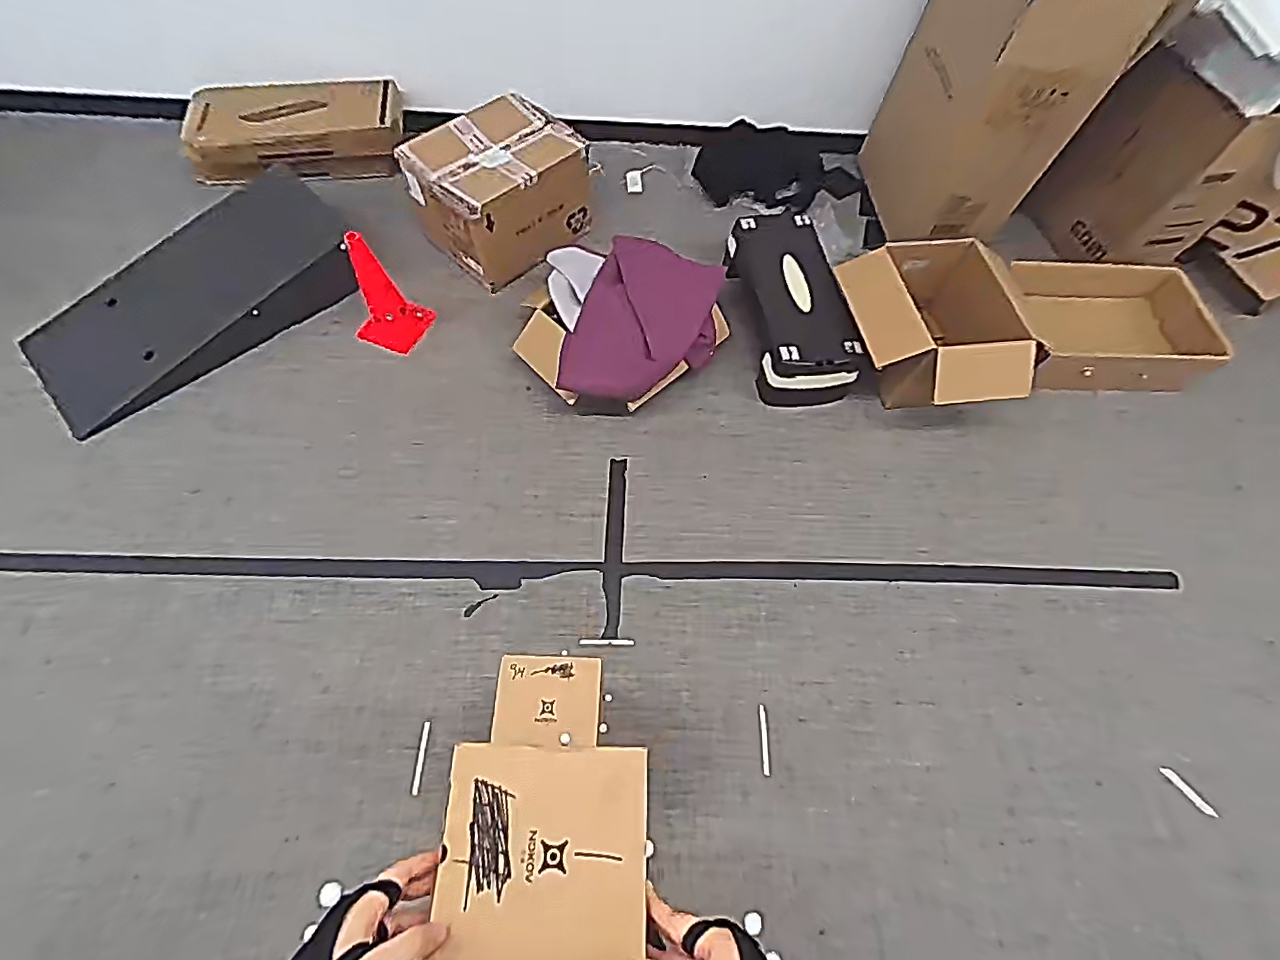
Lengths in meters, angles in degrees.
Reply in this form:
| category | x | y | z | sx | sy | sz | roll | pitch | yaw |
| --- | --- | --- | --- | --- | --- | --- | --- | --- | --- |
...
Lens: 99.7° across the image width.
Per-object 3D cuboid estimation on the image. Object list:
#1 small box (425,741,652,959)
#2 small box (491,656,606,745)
| category | x | y | z | sx | sy | sz | roll | pitch | yaw |
| --- | --- | --- | --- | --- | --- | --- | --- | --- | --- |
| small box | -0.083 | 0.349 | 0.520 | 0.179 | 0.176 | 0.168 | 3 | 62 | -5 |
| small box | -0.146 | 0.403 | 0.915 | 0.168 | 0.176 | 0.179 | 2 | 63 | -1 |
